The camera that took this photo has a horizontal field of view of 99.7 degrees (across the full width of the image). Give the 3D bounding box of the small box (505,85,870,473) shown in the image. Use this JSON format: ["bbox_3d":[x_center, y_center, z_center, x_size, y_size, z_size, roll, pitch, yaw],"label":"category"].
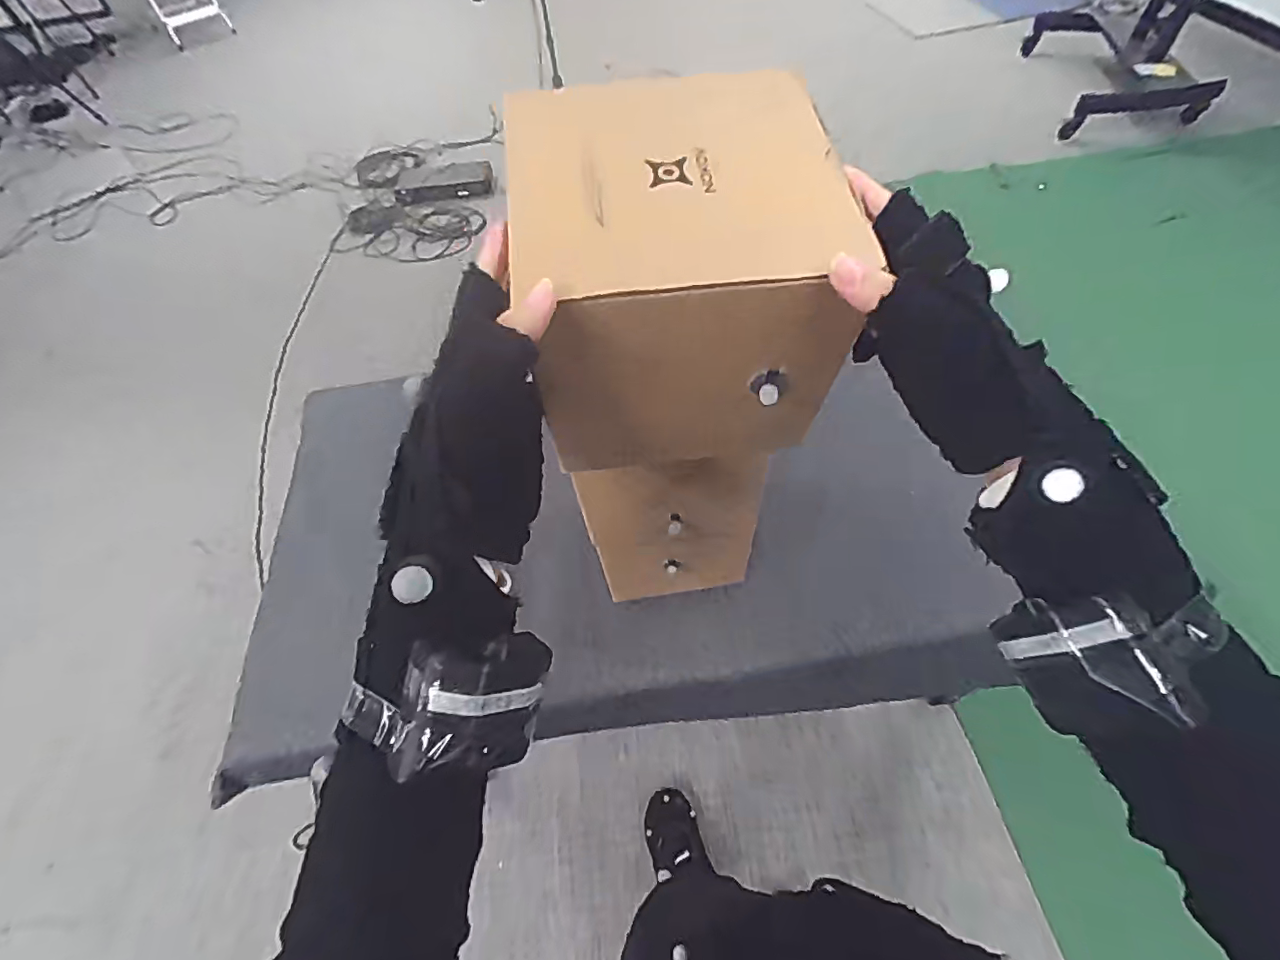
[{"bbox_3d":[0.017,-0.121,0.362,0.179,0.176,0.168,-8,63,-2],"label":"small box"}]

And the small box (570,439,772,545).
[{"bbox_3d":[0.021,-0.049,0.558,0.179,0.176,0.168,-8,55,-1],"label":"small box"}]

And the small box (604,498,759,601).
[{"bbox_3d":[0.035,0.038,0.696,0.179,0.176,0.168,-11,56,-4],"label":"small box"}]
